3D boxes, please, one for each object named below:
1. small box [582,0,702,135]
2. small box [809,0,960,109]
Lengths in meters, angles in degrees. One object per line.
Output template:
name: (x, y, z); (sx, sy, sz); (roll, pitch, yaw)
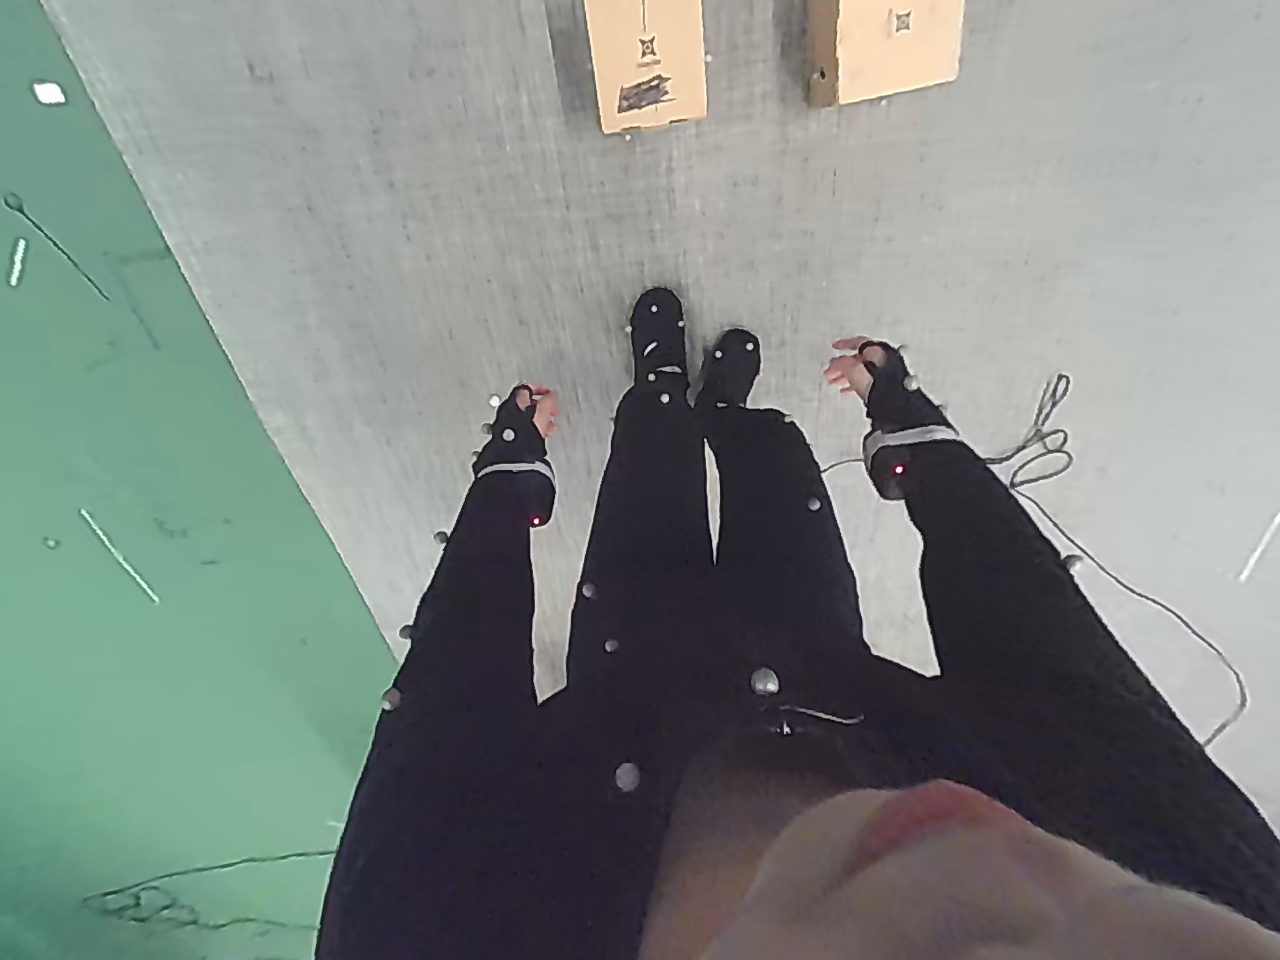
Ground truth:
small box: (0.010, -0.665, 0.860); (0.168, 0.176, 0.179); (-5, 122, 5)
small box: (0.363, -0.686, 0.832); (0.179, 0.176, 0.168); (-8, 123, 7)
